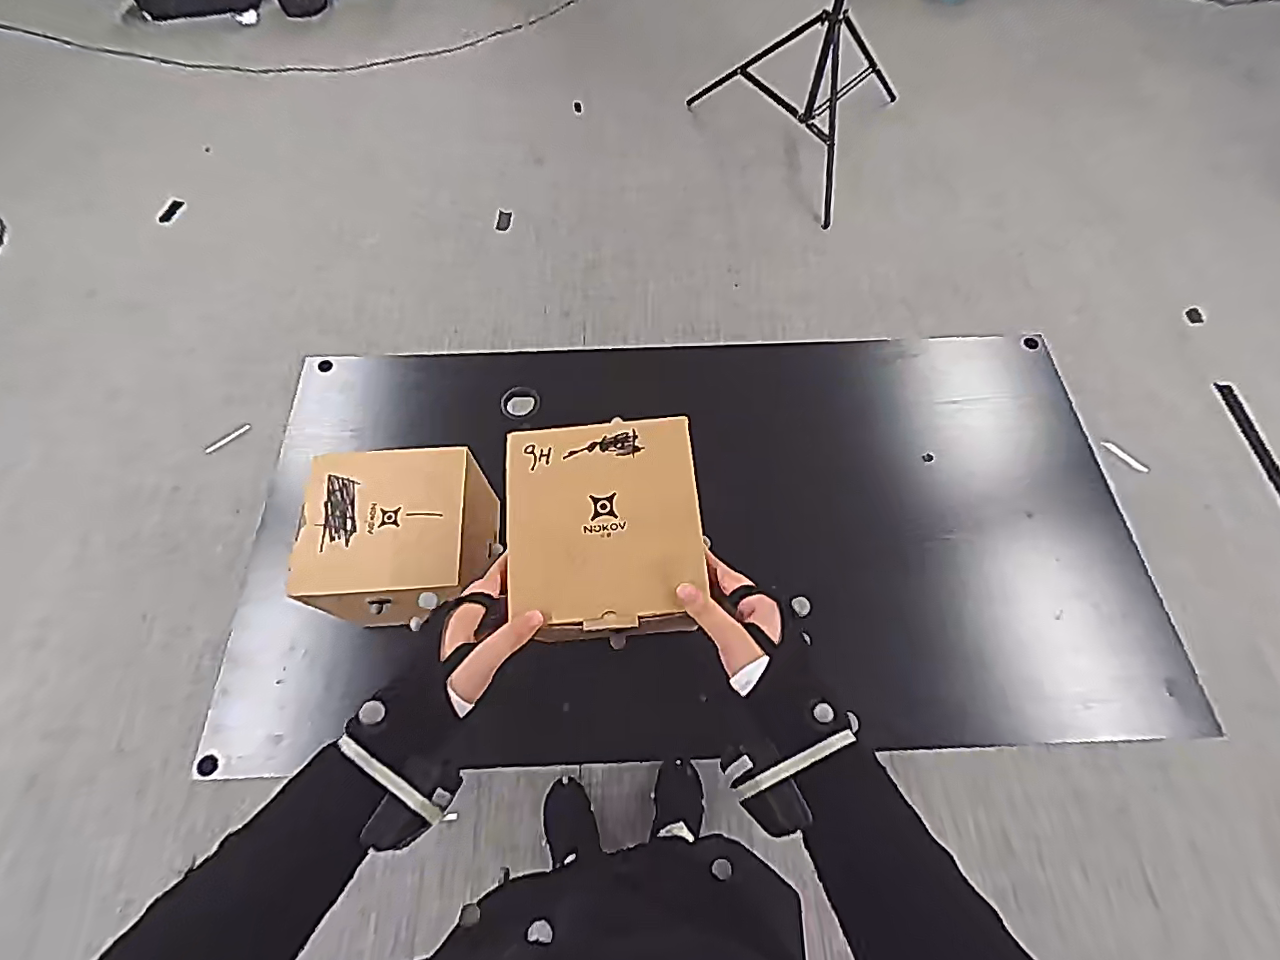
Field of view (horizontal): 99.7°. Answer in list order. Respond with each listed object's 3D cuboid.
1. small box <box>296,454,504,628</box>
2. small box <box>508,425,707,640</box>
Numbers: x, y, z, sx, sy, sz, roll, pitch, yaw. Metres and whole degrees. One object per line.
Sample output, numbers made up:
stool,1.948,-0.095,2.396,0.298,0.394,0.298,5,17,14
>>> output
small box,-0.277,0.082,0.669,0.179,0.176,0.168,-3,65,-3
small box,-0.028,0.063,0.541,0.168,0.176,0.179,-6,72,0
